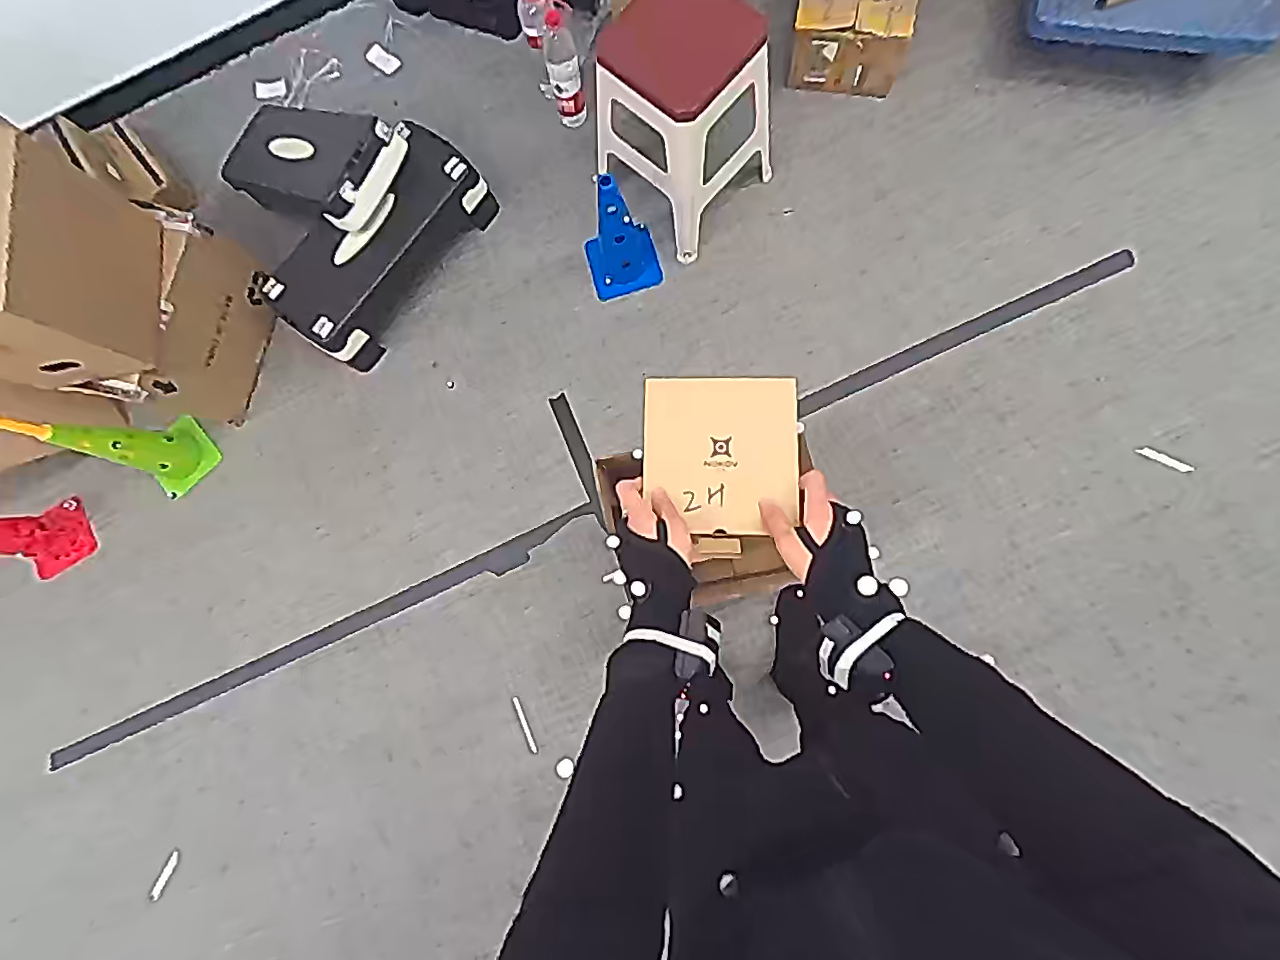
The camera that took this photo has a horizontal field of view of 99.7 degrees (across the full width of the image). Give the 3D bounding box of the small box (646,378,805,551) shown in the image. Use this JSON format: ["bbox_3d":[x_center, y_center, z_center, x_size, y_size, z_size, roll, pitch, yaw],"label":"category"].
[{"bbox_3d":[0.095,-0.009,0.646,0.168,0.176,0.179,0,80,5],"label":"small box"}]
